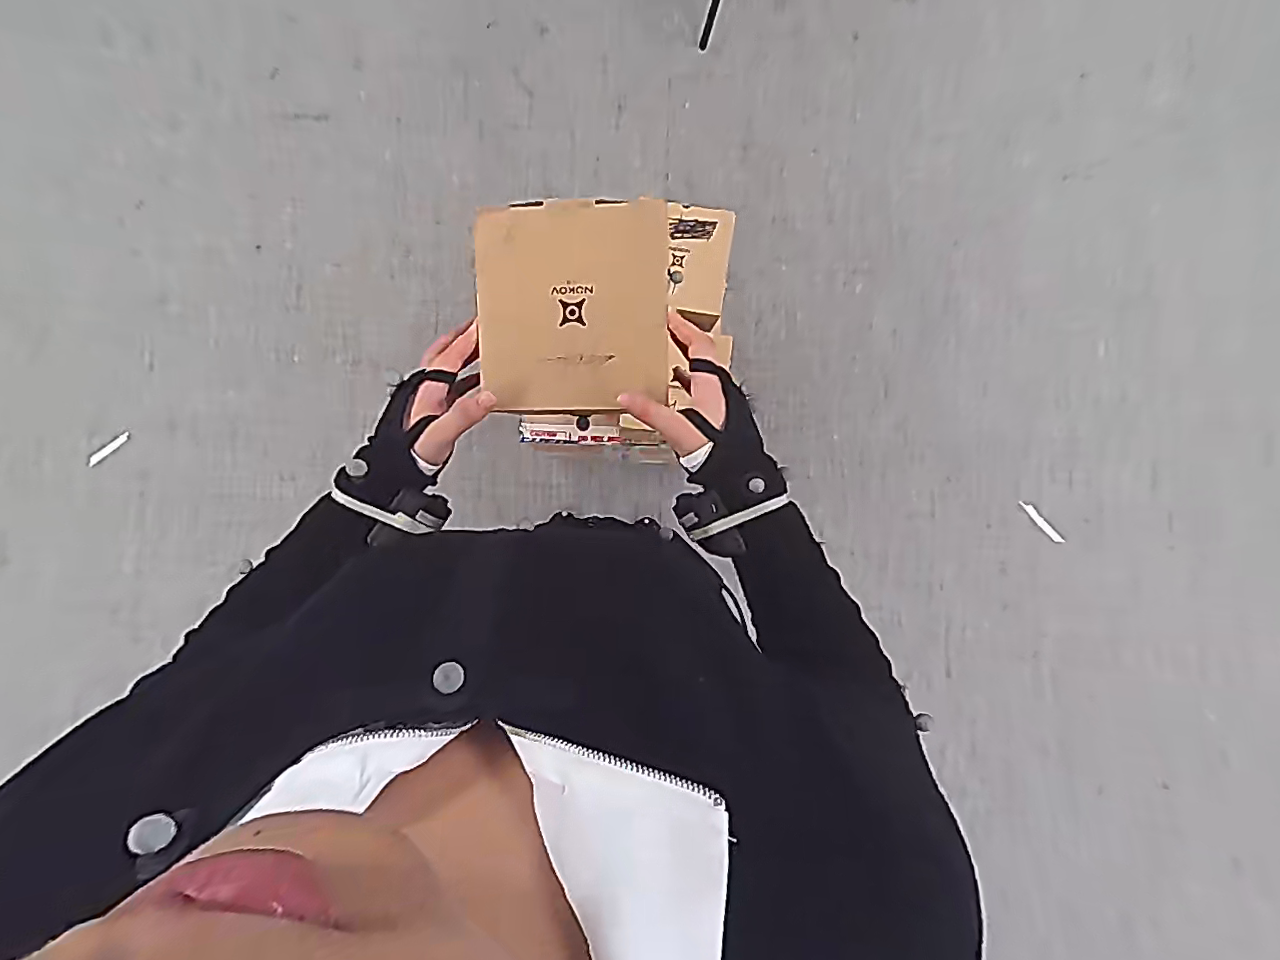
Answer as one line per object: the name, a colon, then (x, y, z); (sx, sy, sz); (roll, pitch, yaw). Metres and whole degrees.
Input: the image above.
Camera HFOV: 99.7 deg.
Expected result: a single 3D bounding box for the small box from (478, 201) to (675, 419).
small box: (-0.053, -0.152, 0.535); (0.168, 0.176, 0.179); (1, 96, 2)
